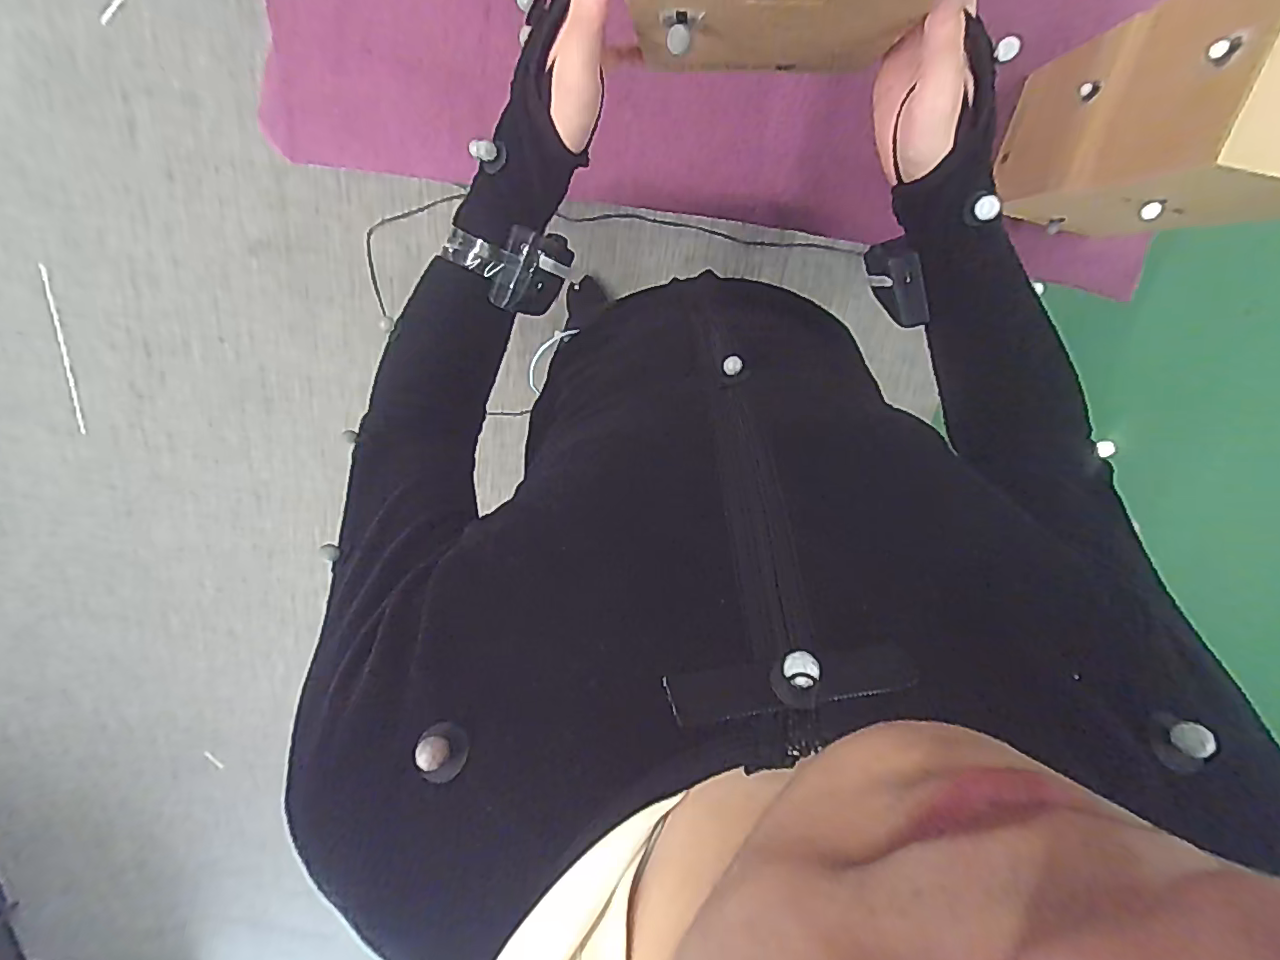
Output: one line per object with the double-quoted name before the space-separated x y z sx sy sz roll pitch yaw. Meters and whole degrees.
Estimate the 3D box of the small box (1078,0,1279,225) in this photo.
"small box" 0.571 -0.355 0.504 0.168 0.176 0.179 12 110 -2

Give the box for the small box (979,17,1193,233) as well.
"small box" 0.568 -0.408 0.658 0.179 0.176 0.168 11 109 -4
